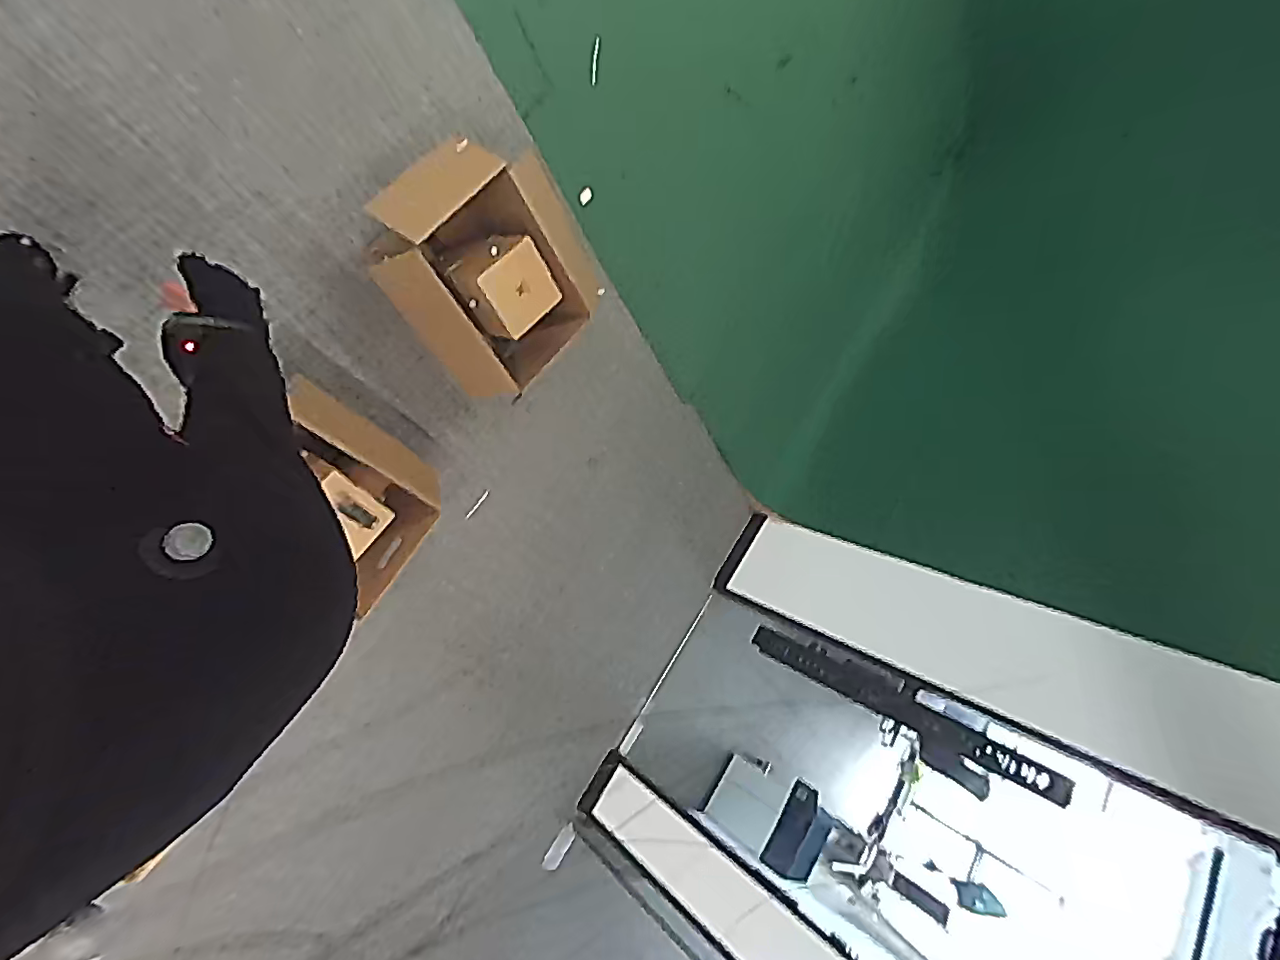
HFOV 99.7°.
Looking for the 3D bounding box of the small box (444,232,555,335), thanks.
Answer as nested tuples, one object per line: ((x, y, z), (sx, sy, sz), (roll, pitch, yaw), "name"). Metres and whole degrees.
((-0.349, -0.477, 1.318), (0.179, 0.176, 0.168), (-51, 135, -21), "small box")
